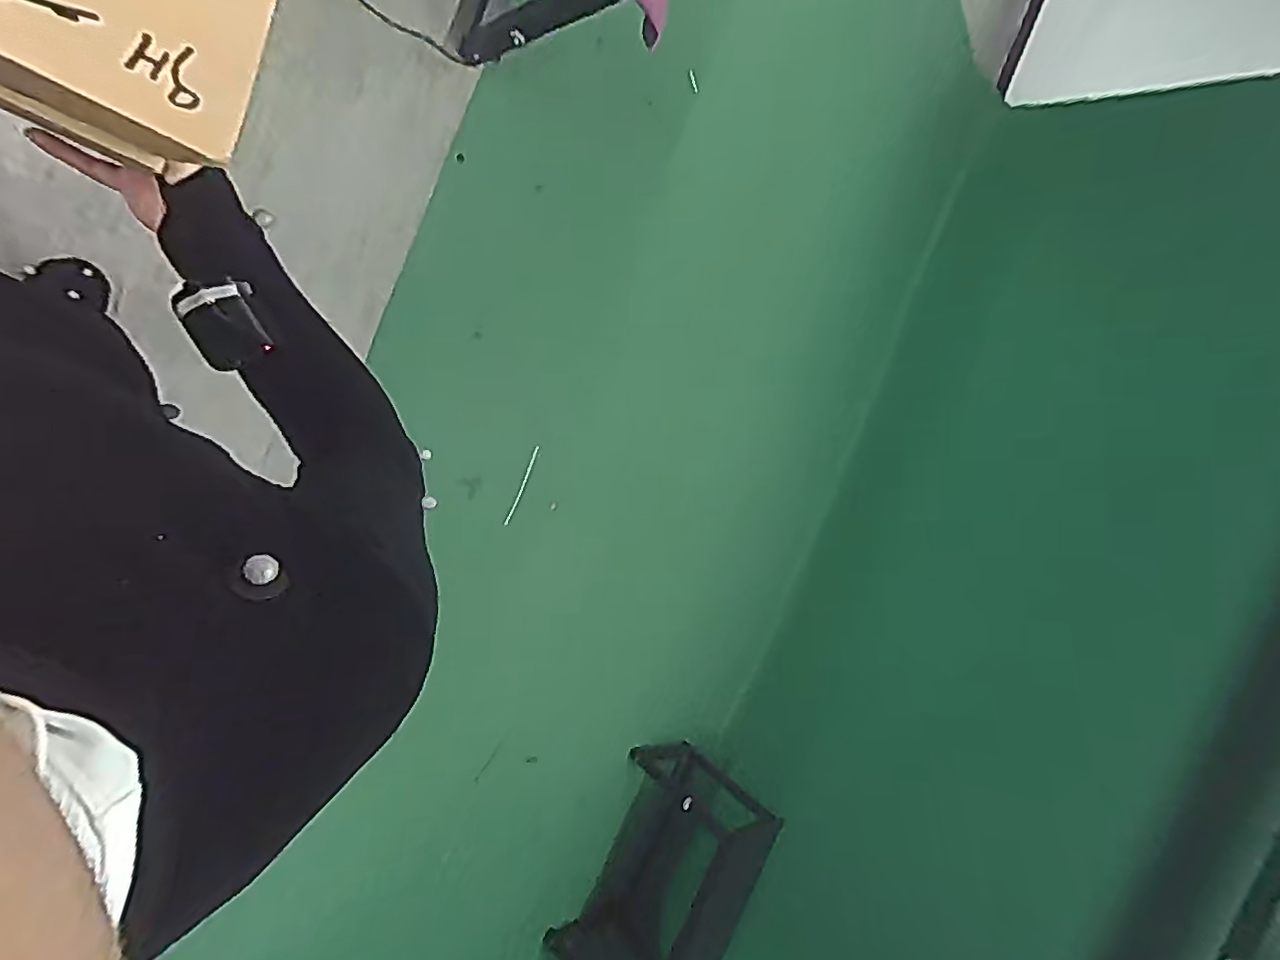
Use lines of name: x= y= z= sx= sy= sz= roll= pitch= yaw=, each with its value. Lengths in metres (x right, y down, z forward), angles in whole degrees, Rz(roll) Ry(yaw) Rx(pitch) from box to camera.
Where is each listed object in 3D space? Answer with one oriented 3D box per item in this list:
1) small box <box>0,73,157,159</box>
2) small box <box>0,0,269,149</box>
small box: x=-0.384 y=-0.328 z=0.325 sx=0.168 sy=0.176 sz=0.179 roll=14 pitch=102 yaw=-52
small box: x=-0.265 y=-0.273 z=0.225 sx=0.168 sy=0.176 sz=0.179 roll=12 pitch=103 yaw=-51
